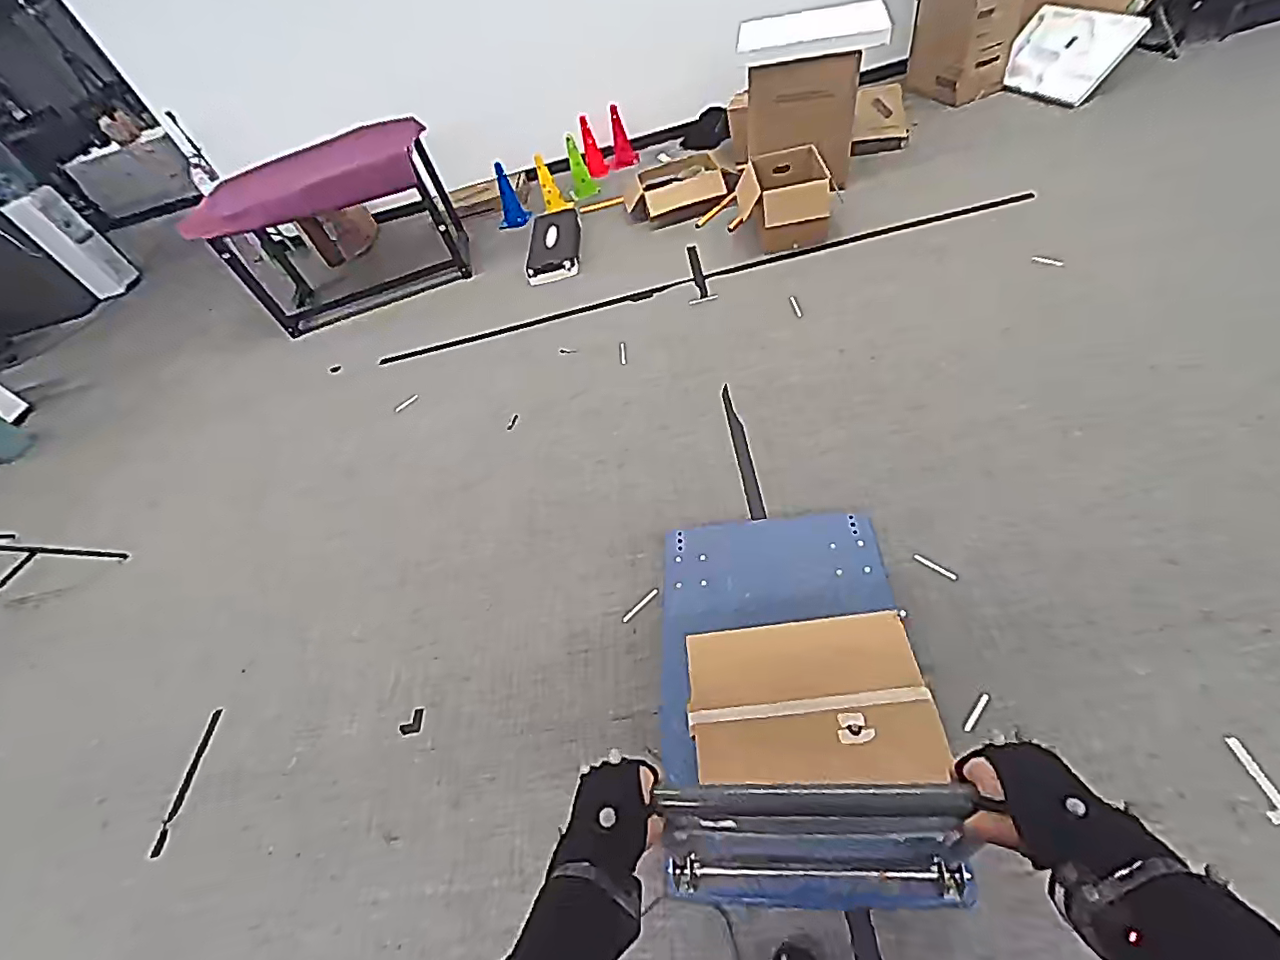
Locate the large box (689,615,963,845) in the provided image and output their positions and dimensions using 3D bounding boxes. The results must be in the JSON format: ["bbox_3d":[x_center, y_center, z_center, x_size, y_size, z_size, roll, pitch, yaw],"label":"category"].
[{"bbox_3d":[0.326,0.498,1.059,0.408,0.320,0.320,-9,50,7],"label":"large box"}]
